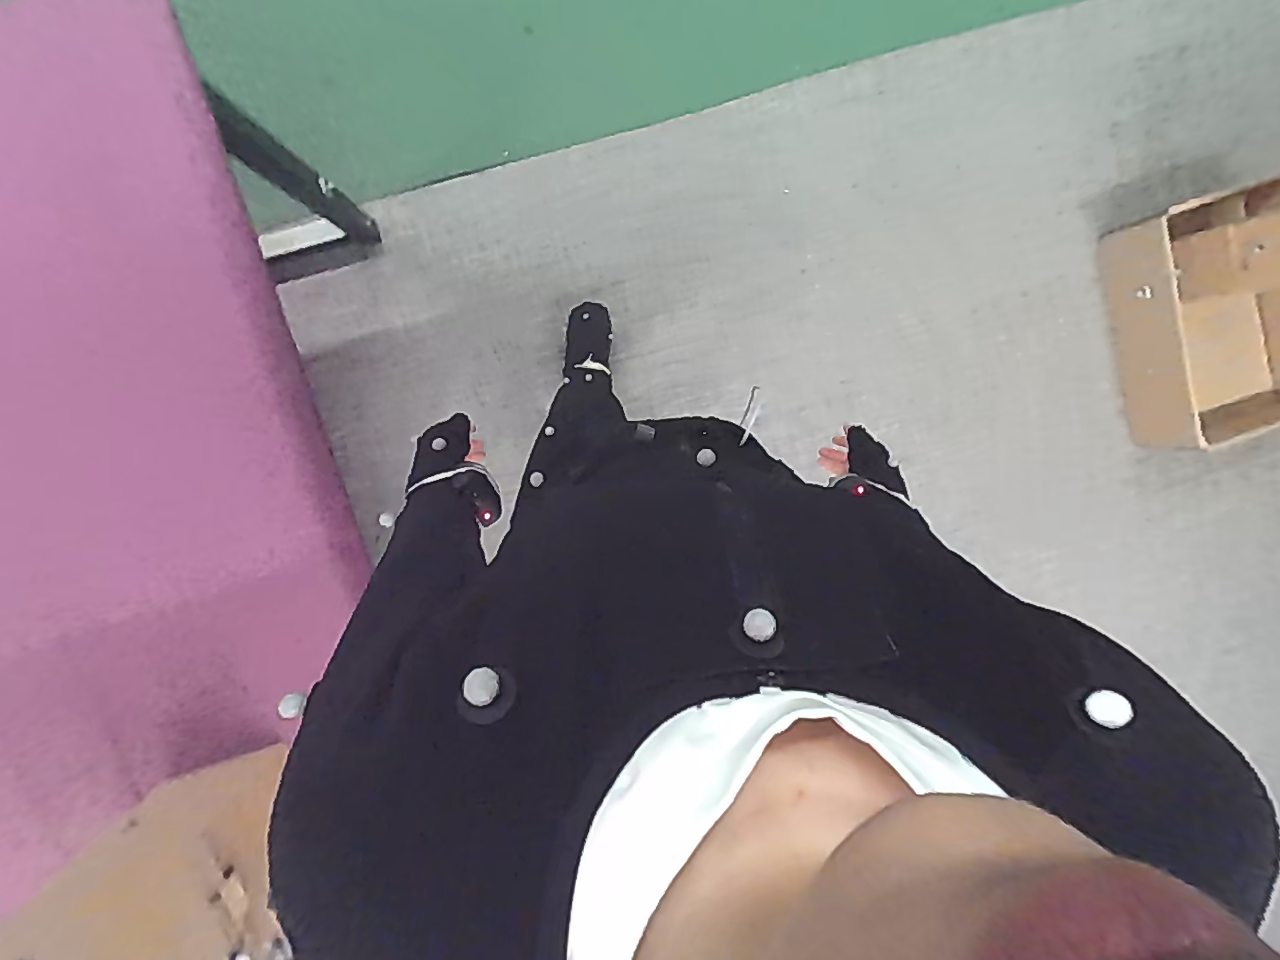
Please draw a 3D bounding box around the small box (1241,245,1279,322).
[{"bbox_3d":[1.532,-0.465,1.219,0.179,0.176,0.168,-15,100,-3],"label":"small box"}]

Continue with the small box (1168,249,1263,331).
[{"bbox_3d":[1.515,-0.487,1.380,0.179,0.176,0.168,-14,99,-3],"label":"small box"}]
